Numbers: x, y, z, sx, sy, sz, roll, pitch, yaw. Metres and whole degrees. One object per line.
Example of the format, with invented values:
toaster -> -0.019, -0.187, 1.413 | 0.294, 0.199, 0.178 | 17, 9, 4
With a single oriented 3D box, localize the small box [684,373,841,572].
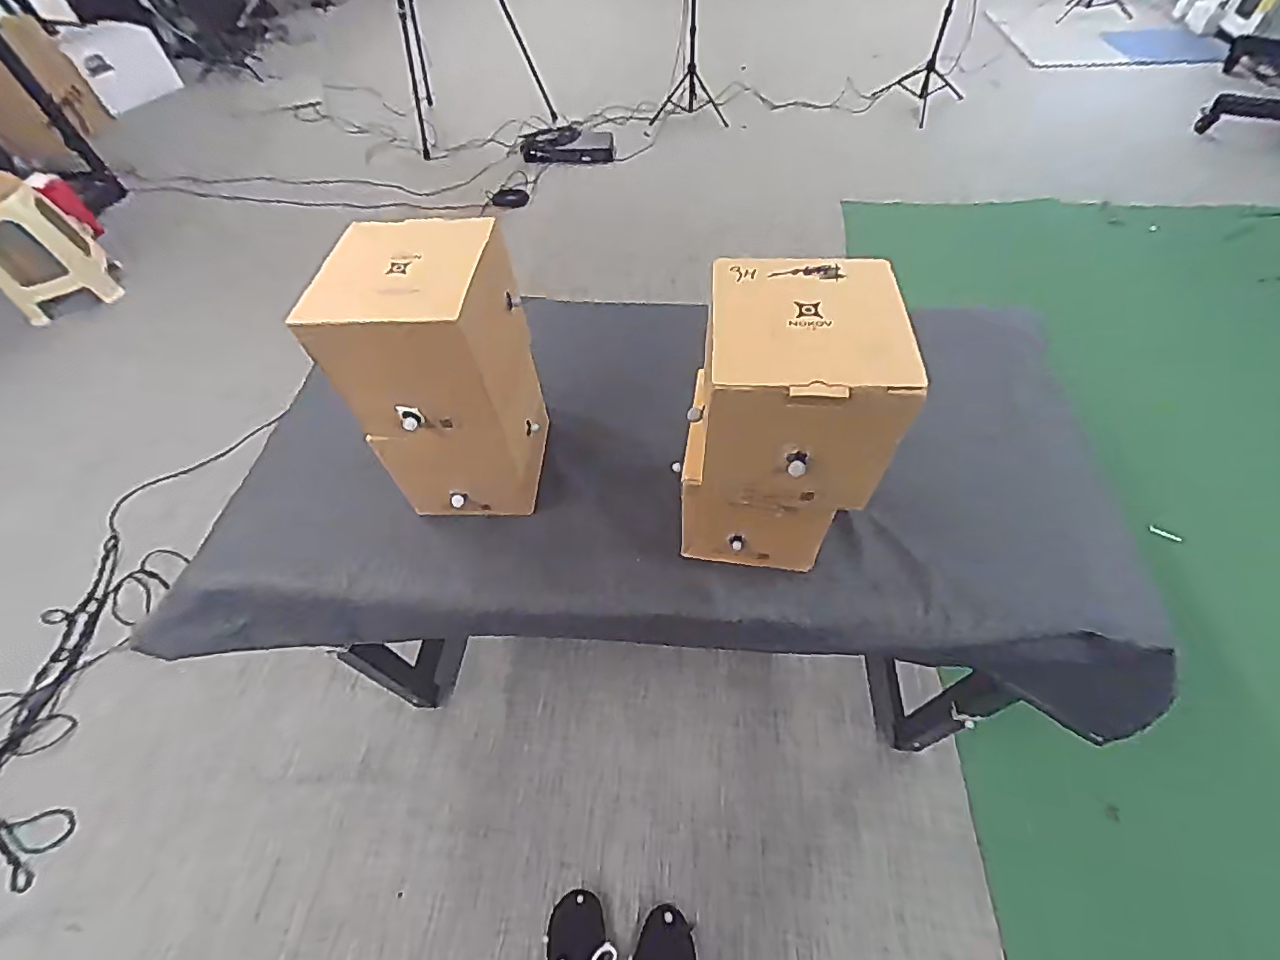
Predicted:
small box -> 0.146, -0.008, 0.676 | 0.168, 0.176, 0.179 | 6, 54, 7

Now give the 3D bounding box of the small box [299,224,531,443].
small box -> -0.227, -0.161, 0.607 | 0.168, 0.176, 0.179 | 0, 54, 4

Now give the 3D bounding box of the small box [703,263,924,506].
small box -> 0.150, -0.089, 0.533 | 0.168, 0.176, 0.179 | 2, 55, 5

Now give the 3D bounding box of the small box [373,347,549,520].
small box -> -0.225, -0.064, 0.738 | 0.168, 0.176, 0.179 | 0, 54, 3
